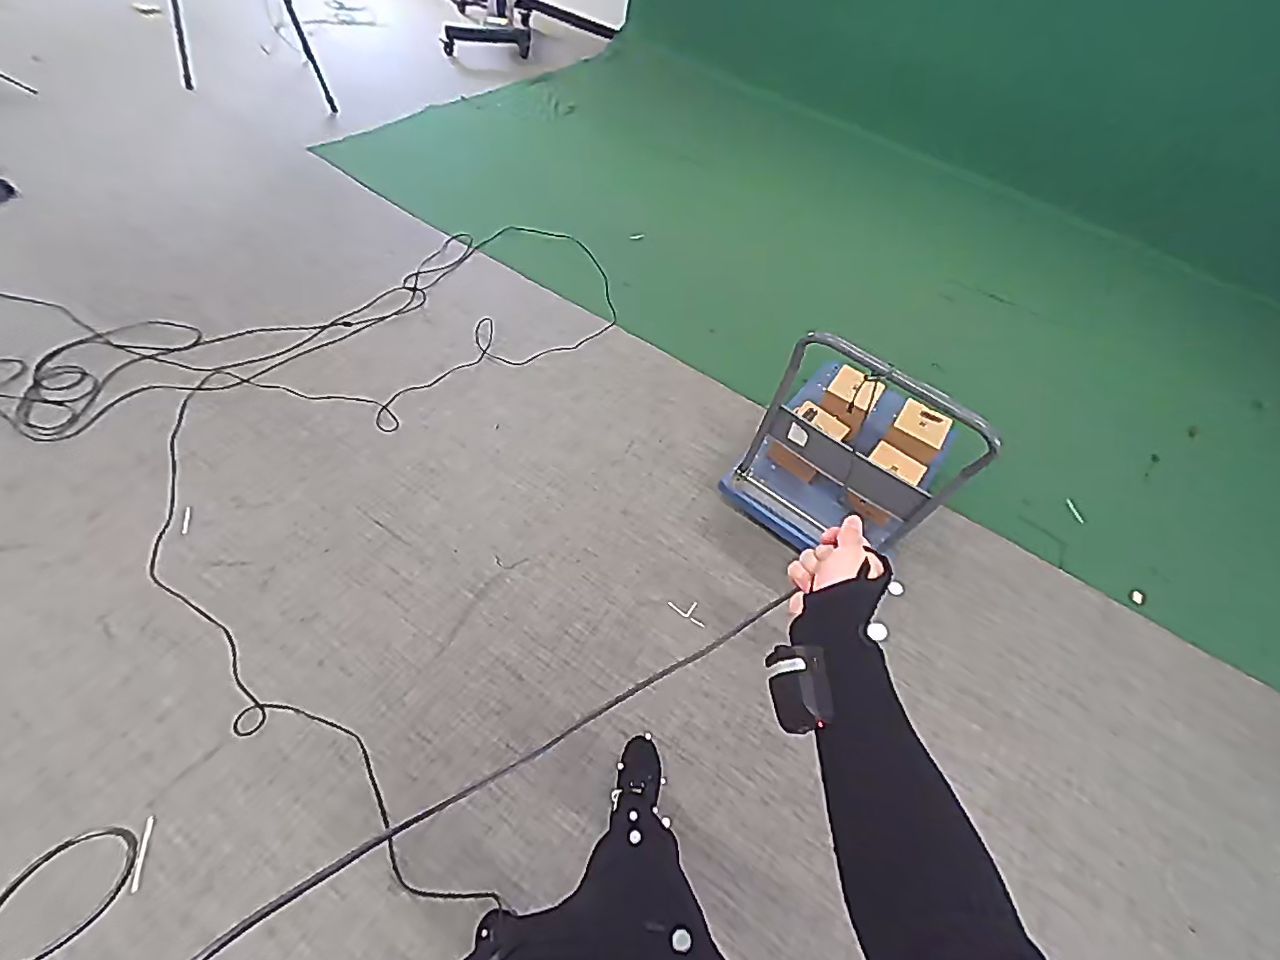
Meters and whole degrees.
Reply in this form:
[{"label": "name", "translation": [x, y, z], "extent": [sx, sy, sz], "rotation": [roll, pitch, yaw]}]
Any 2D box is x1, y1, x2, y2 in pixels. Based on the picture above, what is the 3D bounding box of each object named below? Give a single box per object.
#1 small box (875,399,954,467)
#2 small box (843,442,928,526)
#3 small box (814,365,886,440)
[{"label": "small box", "translation": [0.965, -0.147, 1.913], "extent": [0.168, 0.176, 0.179], "rotation": [32, 57, 15]}, {"label": "small box", "translation": [0.798, 0.014, 1.775], "extent": [0.168, 0.176, 0.179], "rotation": [37, 58, 17]}, {"label": "small box", "translation": [0.759, -0.278, 1.975], "extent": [0.168, 0.176, 0.179], "rotation": [33, 57, 14]}]
